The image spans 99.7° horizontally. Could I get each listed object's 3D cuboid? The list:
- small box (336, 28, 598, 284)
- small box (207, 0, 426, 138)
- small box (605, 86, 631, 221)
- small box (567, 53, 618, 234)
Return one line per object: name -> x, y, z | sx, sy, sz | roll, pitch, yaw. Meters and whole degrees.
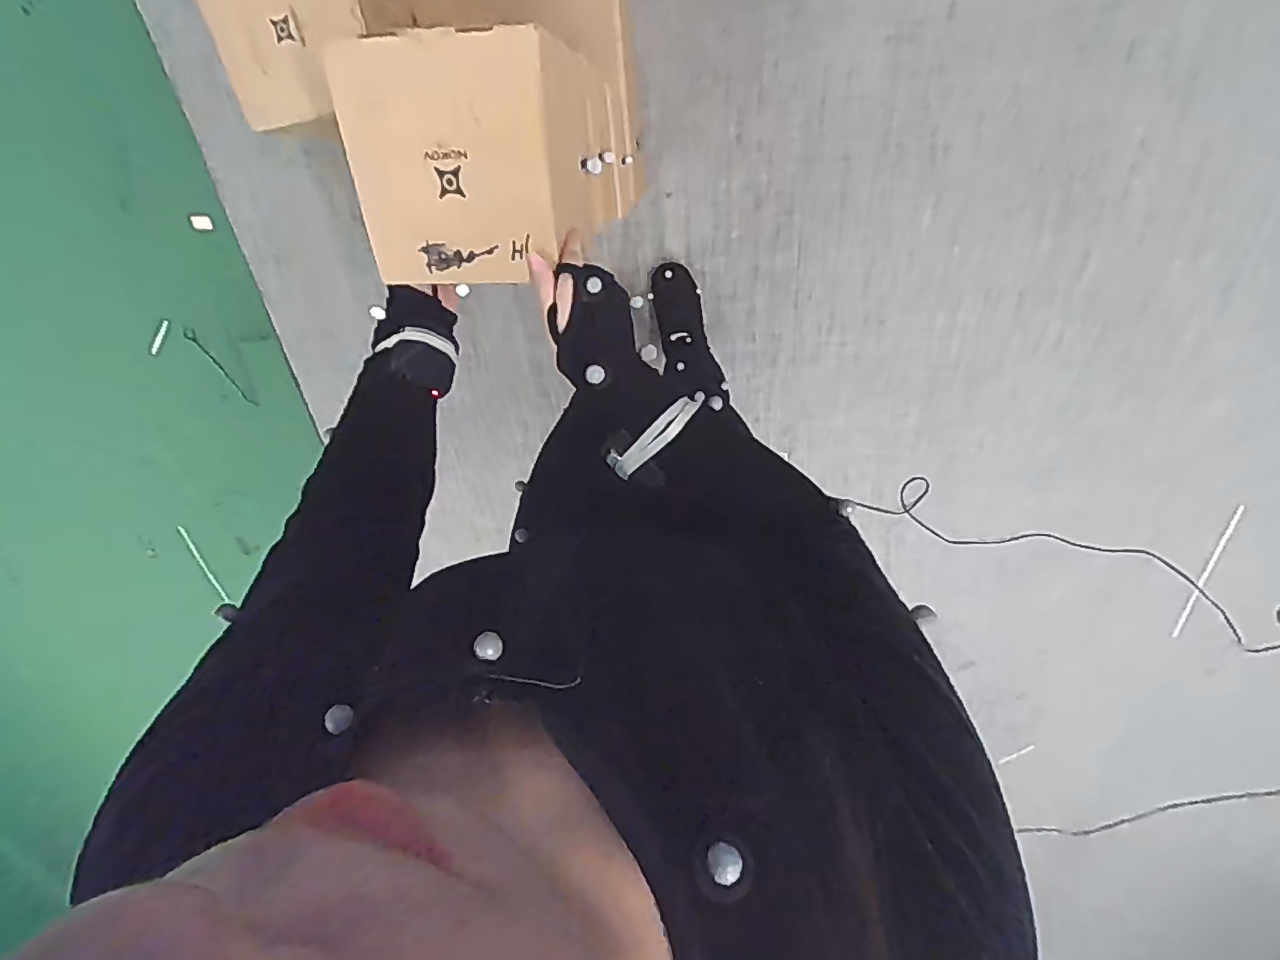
small box -> -0.136, -0.289, 0.503 | 0.168, 0.176, 0.179 | 3, 121, 7
small box -> -0.361, -0.522, 0.647 | 0.179, 0.176, 0.168 | -4, 118, 9
small box -> -0.107, -0.487, 0.826 | 0.179, 0.176, 0.168 | -2, 119, 6
small box -> -0.122, -0.409, 0.683 | 0.168, 0.176, 0.179 | -2, 121, 6
